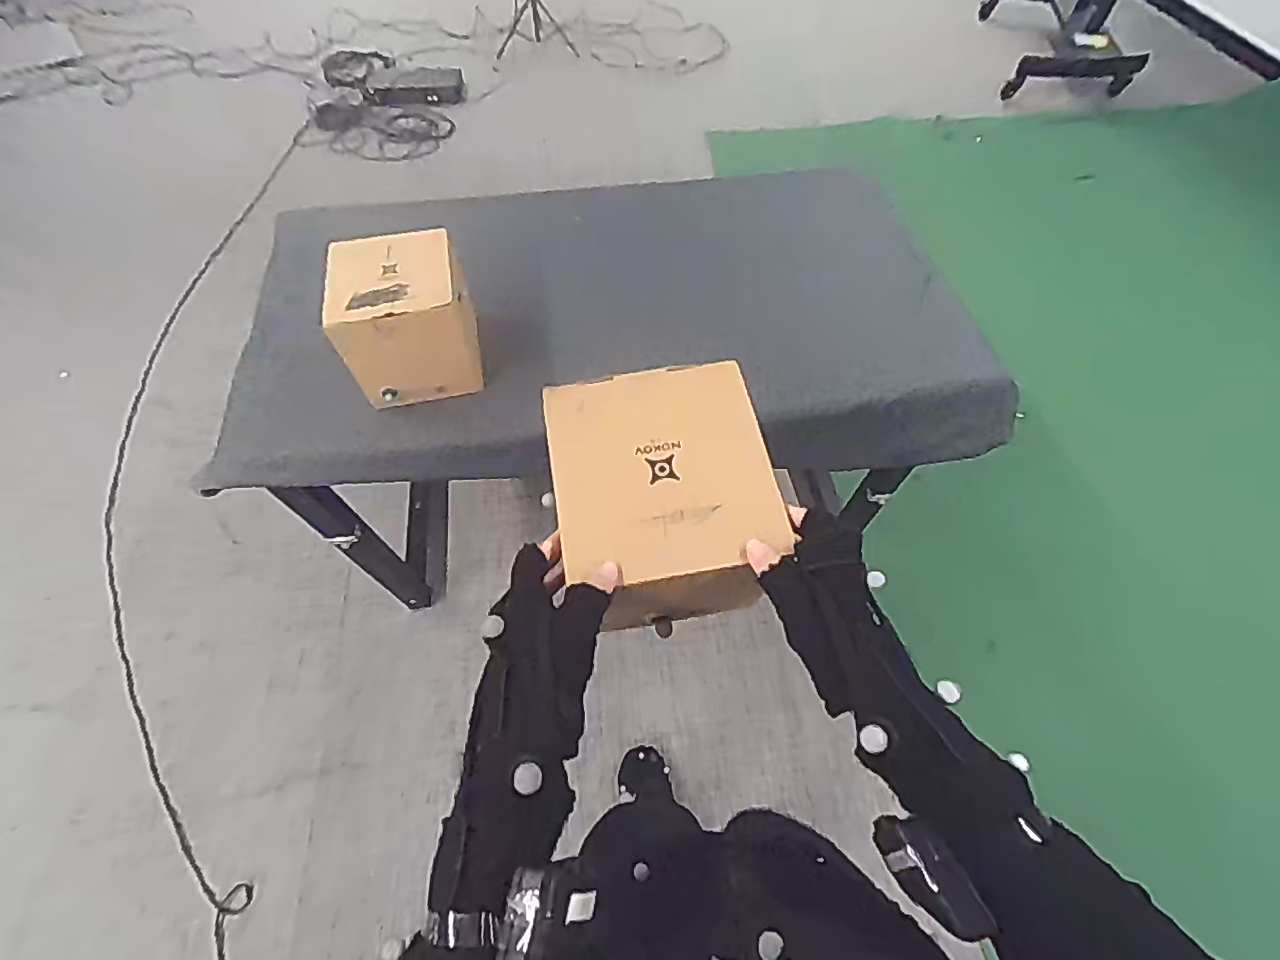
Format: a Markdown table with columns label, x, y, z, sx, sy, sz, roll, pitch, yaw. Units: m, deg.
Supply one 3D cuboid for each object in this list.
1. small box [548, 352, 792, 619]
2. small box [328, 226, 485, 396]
| label | x | y | z | sx | sy | sz | roll | pitch | yaw |
| --- | --- | --- | --- | --- | --- | --- | --- | --- | --- |
| small box | 0.016 | 0.013 | 0.491 | 0.168 | 0.176 | 0.179 | -10 | 66 | -4 |
| small box | -0.335 | -0.242 | 0.805 | 0.168 | 0.176 | 0.179 | -11 | 58 | -7 |
